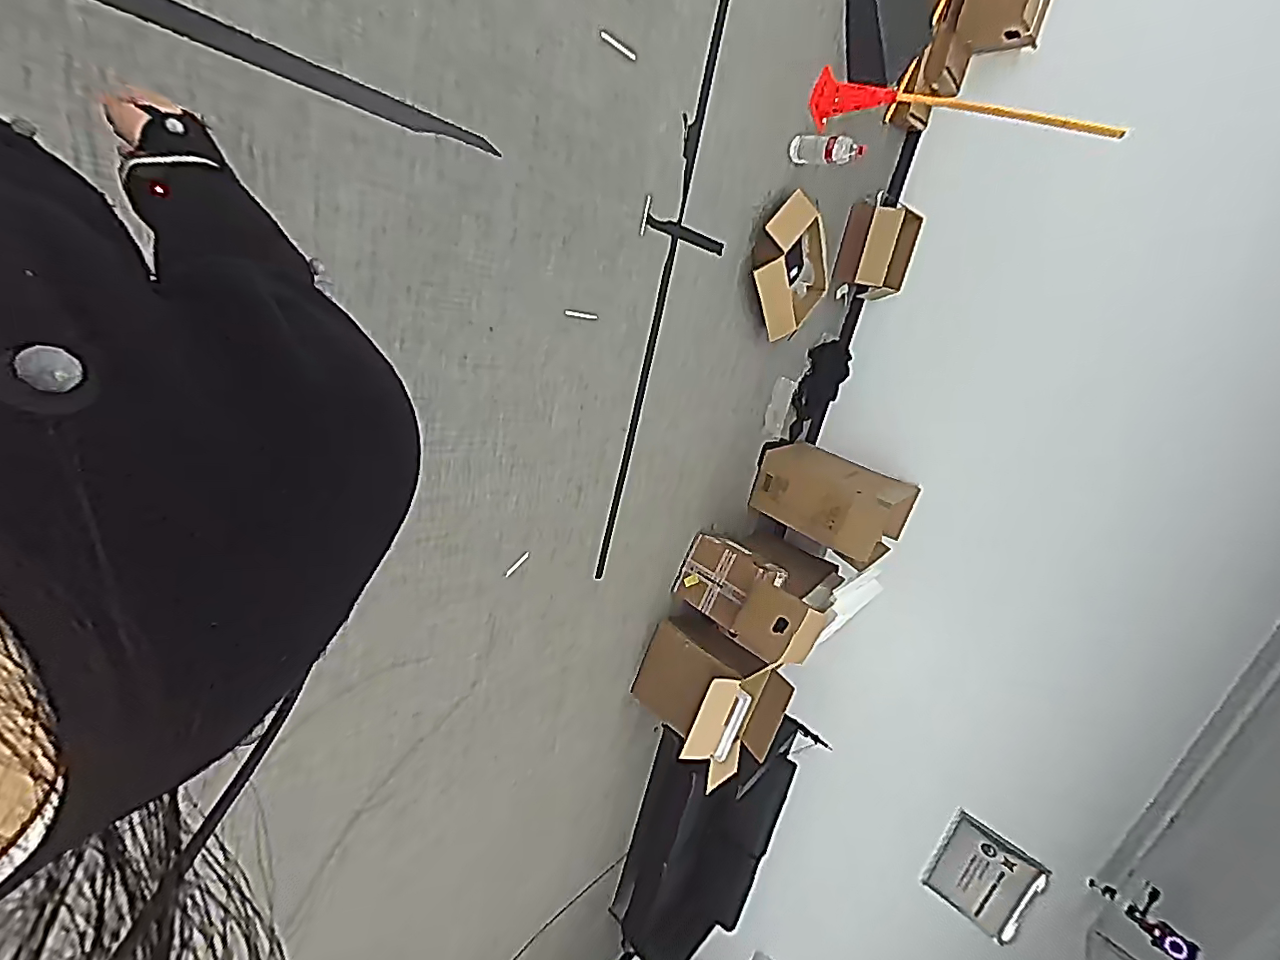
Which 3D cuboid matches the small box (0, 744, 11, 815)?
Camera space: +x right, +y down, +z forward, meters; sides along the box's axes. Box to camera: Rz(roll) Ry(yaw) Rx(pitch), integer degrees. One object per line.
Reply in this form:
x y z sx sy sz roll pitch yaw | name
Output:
-1.375 0.581 1.048 0.168 0.176 0.179 -21 127 -44 | small box
